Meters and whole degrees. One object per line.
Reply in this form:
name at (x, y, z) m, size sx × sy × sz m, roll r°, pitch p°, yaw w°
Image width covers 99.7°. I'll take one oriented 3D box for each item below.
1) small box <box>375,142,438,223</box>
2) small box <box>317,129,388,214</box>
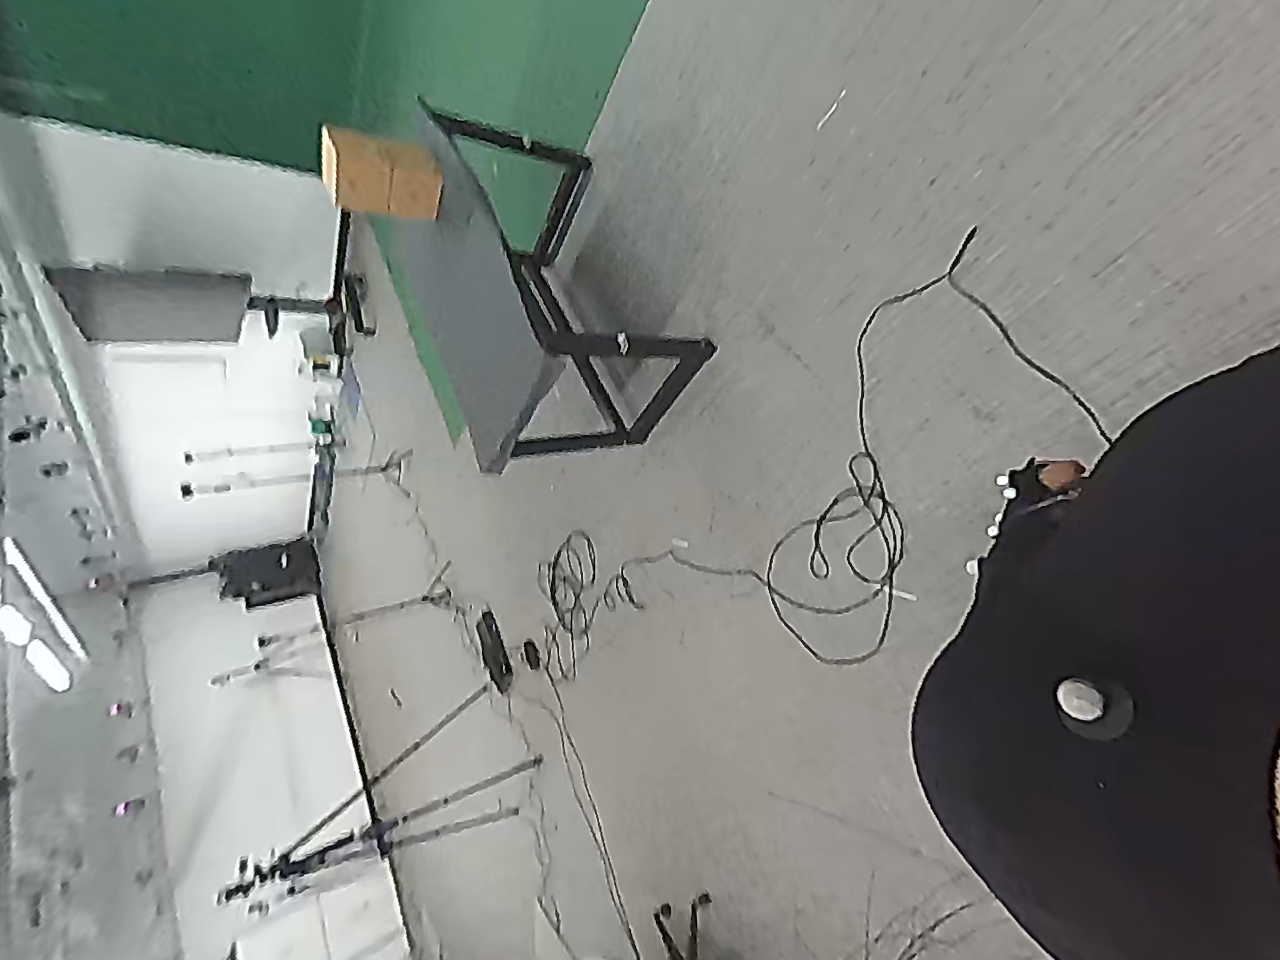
small box at (-0.816, -1.023, 1.870) m, size 0.168 × 0.176 × 0.179 m, roll 61°, pitch 140°, yaw 20°
small box at (-0.939, -0.998, 1.766) m, size 0.168 × 0.176 × 0.179 m, roll 57°, pitch 136°, yaw 23°
